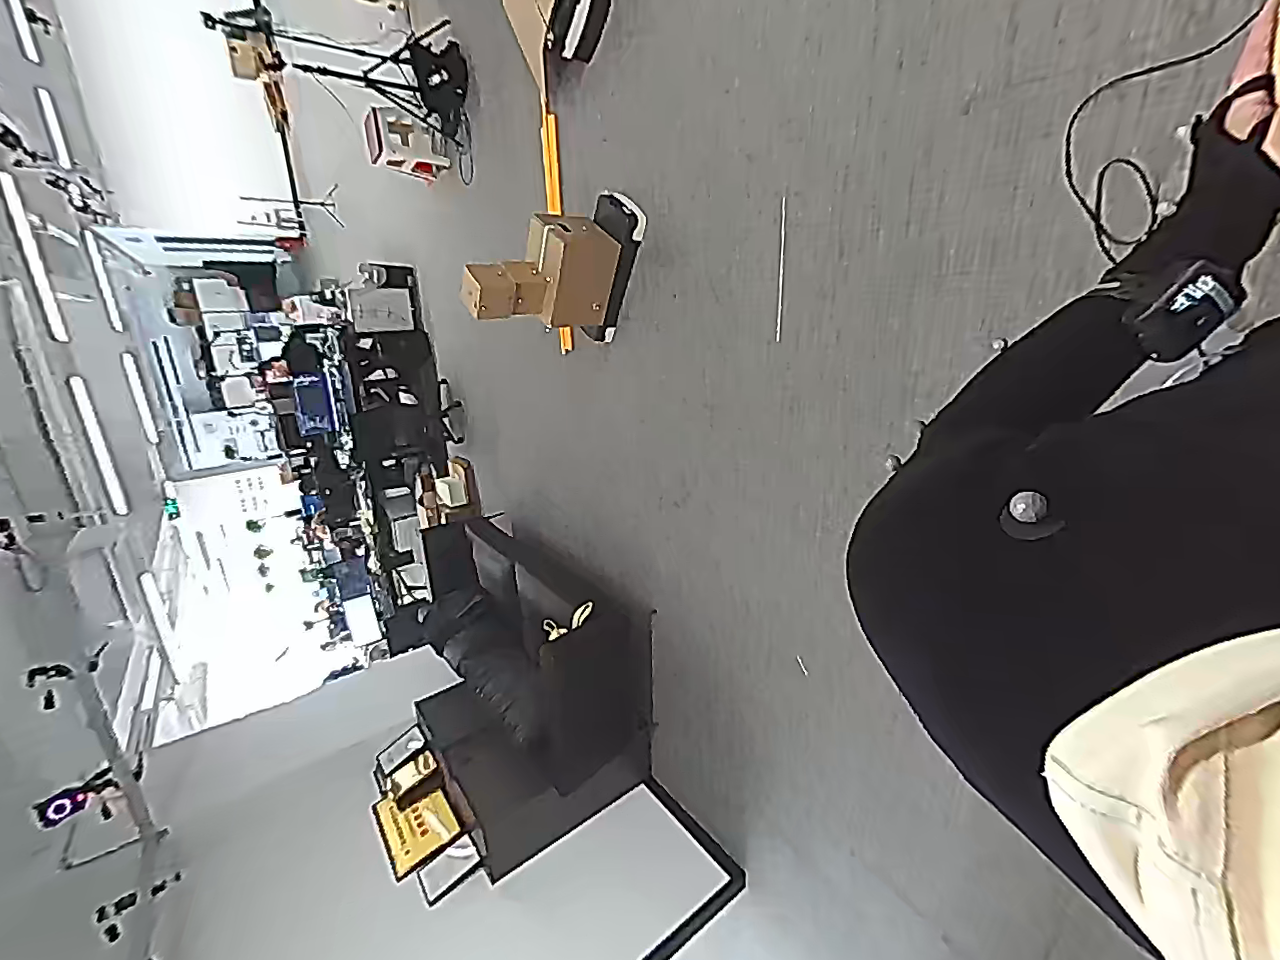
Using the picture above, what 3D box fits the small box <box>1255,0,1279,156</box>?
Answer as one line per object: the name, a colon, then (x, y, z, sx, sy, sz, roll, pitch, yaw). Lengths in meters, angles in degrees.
small box: (0.575, -0.348, 0.368, 0.168, 0.176, 0.179, 15, 122, 57)
